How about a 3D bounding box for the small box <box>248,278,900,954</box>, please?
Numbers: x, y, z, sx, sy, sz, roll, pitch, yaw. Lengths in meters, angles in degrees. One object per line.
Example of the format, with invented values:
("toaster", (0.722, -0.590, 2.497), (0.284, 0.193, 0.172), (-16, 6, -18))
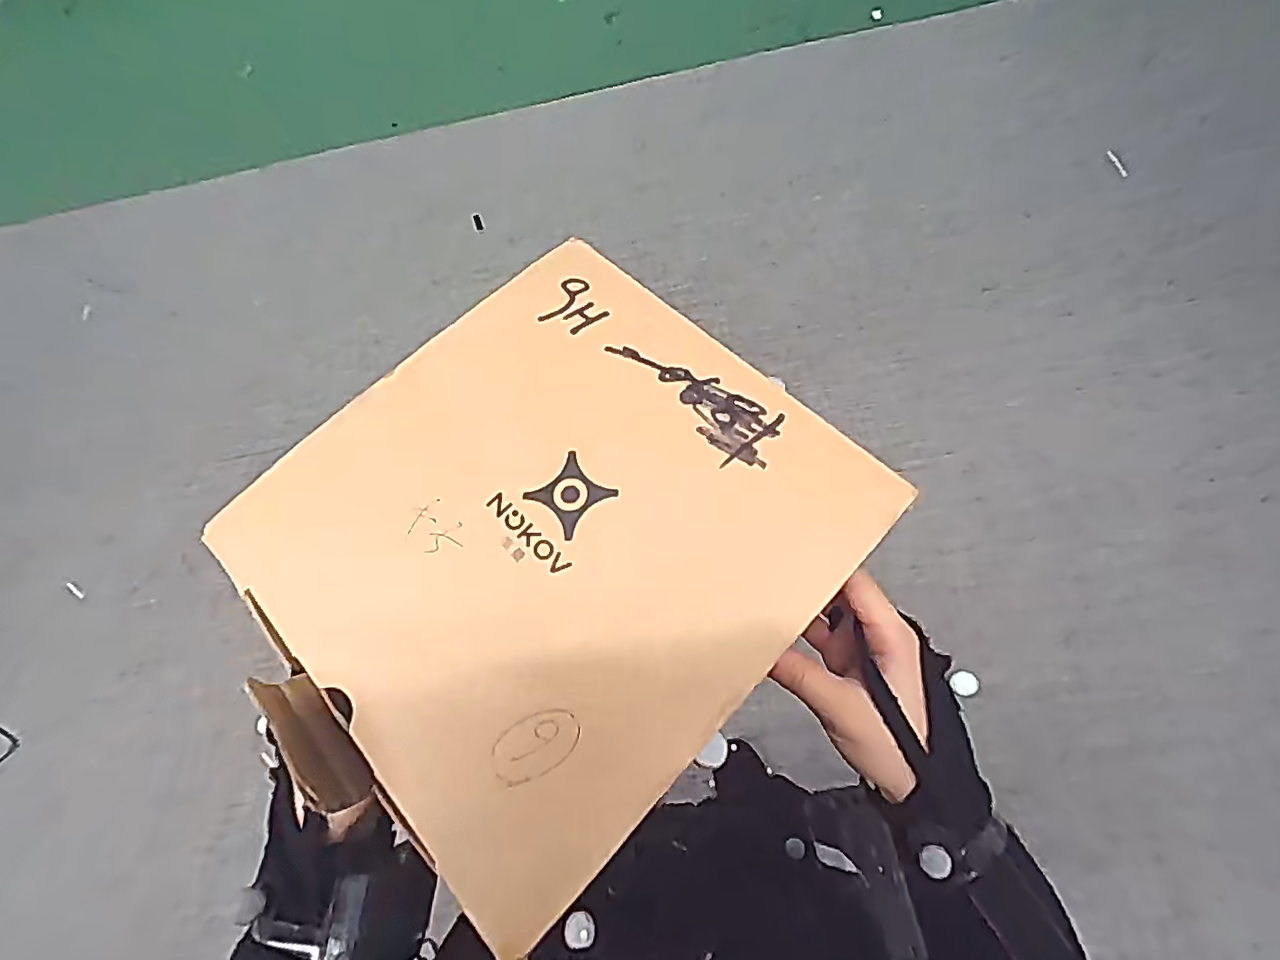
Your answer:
("small box", (-0.021, 0.052, 0.262), (0.168, 0.176, 0.179), (42, 76, 18))
